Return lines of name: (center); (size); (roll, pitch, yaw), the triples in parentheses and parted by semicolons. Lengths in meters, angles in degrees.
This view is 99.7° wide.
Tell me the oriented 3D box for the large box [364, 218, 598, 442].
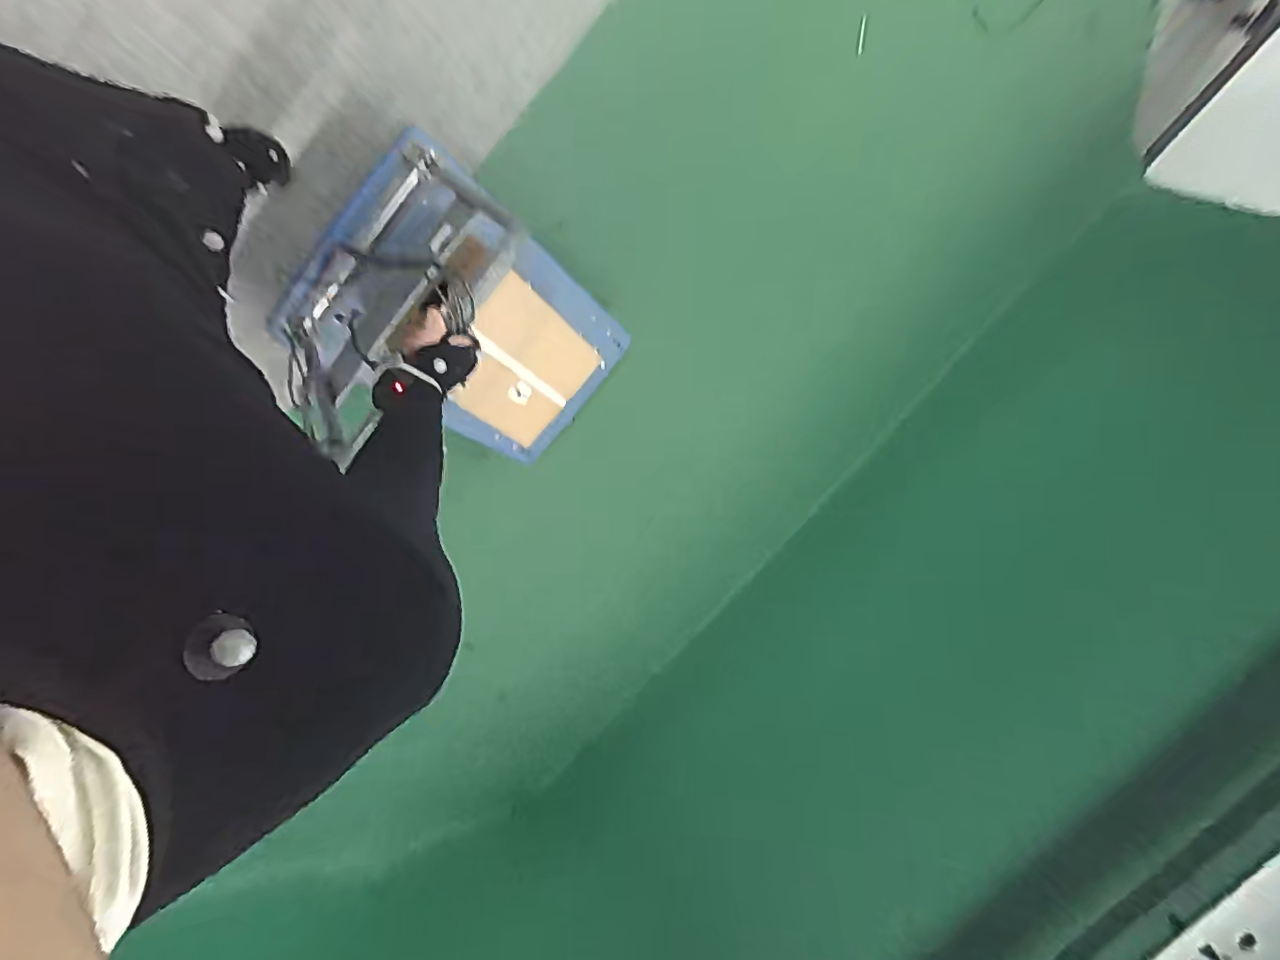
large box: (-0.390, -0.363, 1.356); (0.320, 0.320, 0.408); (-47, 143, 5)
